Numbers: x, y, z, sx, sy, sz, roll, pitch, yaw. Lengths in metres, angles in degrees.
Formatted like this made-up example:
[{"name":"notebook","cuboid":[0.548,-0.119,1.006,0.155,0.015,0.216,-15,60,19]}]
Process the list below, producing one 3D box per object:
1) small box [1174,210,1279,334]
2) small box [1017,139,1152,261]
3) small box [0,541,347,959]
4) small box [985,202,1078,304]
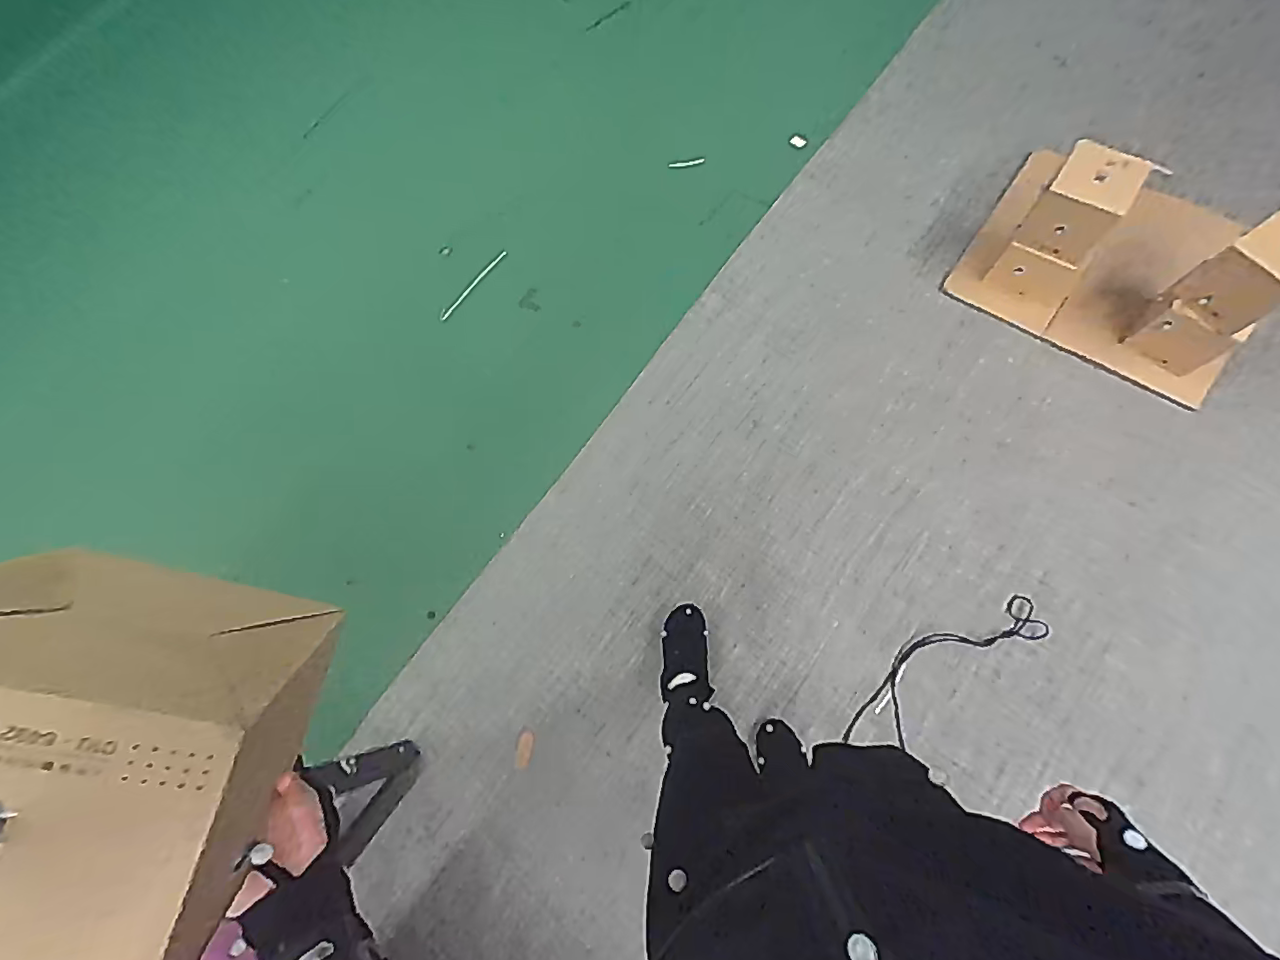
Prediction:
[{"name":"small box","cuboid":[1.376,-0.465,1.205,0.179,0.176,0.168,-33,72,-5]},{"name":"small box","cuboid":[1.061,-0.670,1.311,0.168,0.176,0.179,33,78,15]},{"name":"small box","cuboid":[-0.276,0.138,0.275,0.168,0.179,0.176,19,87,-16]},{"name":"small box","cuboid":[1.078,-0.614,1.466,0.168,0.176,0.179,32,78,15]}]
